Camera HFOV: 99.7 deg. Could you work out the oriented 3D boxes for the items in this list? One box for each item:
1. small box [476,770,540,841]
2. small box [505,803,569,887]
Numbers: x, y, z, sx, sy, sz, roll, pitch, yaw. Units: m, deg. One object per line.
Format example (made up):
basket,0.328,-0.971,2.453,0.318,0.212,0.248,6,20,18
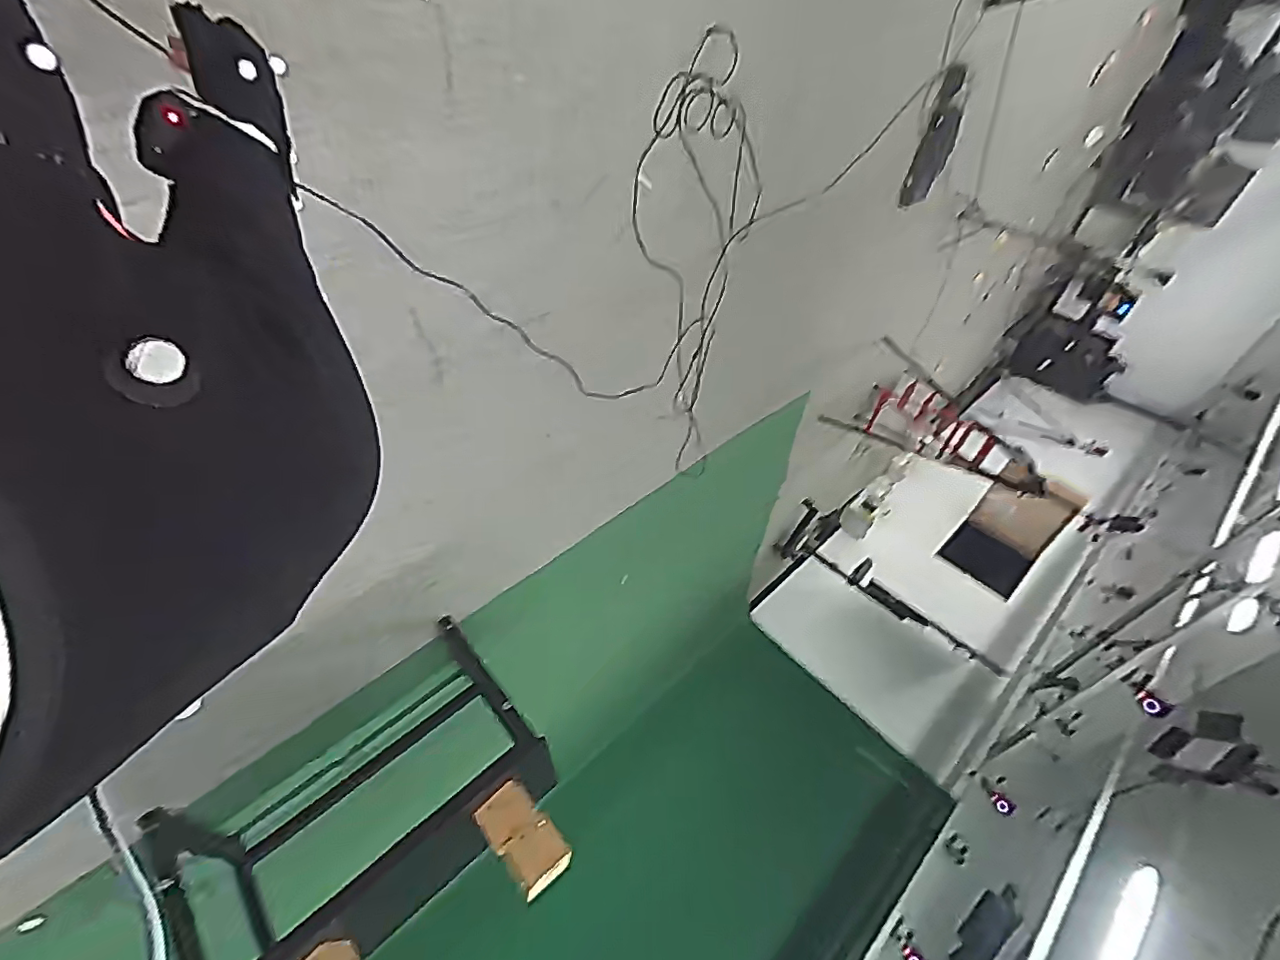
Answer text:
small box,-0.498,1.247,2.072,0.168,0.176,0.179,-37,147,-20
small box,-0.385,1.338,1.994,0.168,0.176,0.179,-23,142,-38
